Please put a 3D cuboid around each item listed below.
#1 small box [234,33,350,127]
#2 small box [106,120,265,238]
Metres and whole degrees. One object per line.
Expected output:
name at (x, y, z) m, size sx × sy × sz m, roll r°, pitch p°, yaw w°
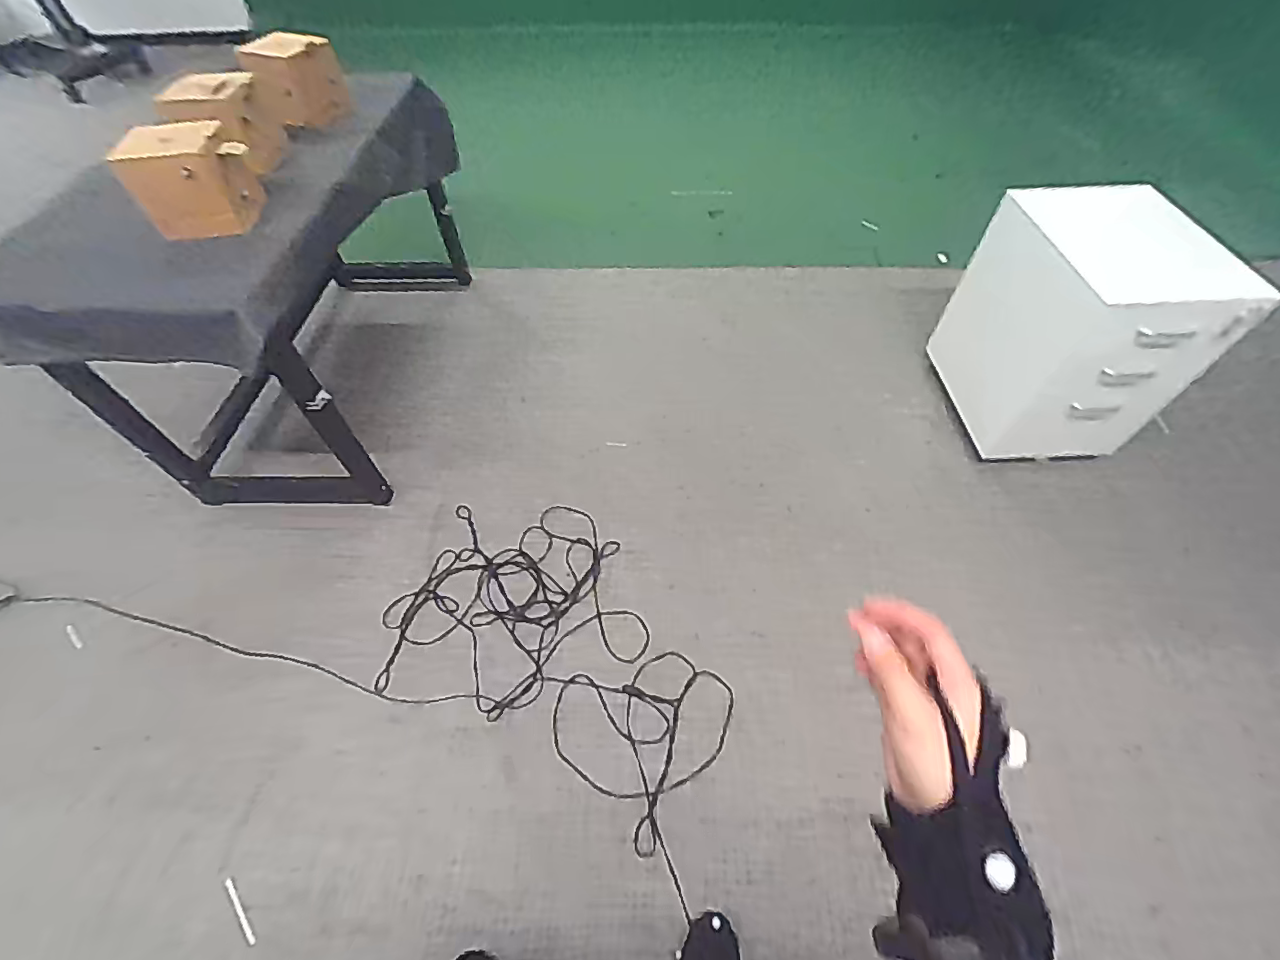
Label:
small box at (-0.953, -1.106, 1.500) m, size 0.179 × 0.176 × 0.168 m, roll 16°, pitch 55°, yaw 14°
small box at (-0.956, -0.639, 1.157) m, size 0.179 × 0.176 × 0.168 m, roll -9°, pitch 53°, yaw -5°
